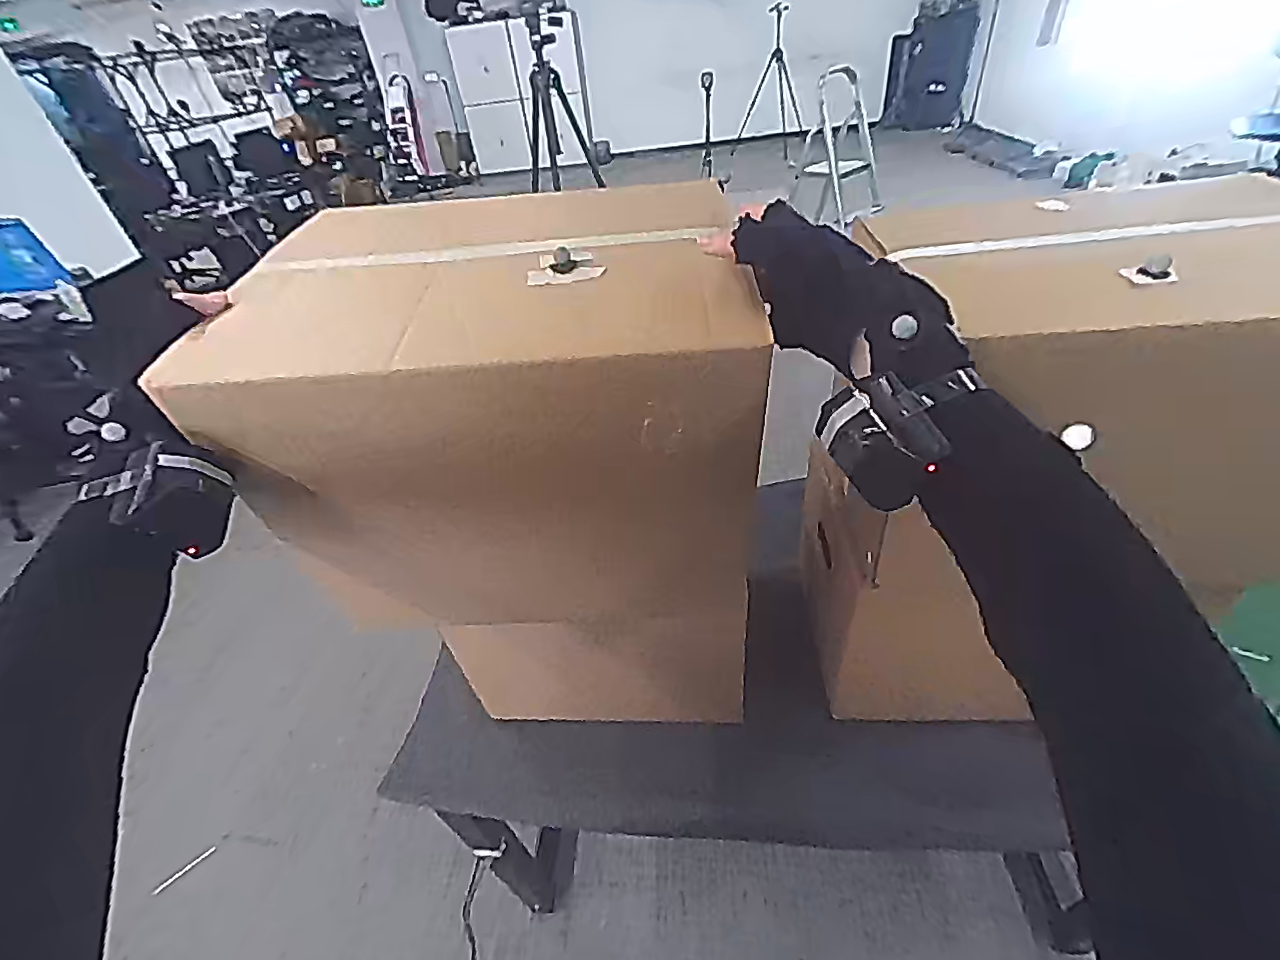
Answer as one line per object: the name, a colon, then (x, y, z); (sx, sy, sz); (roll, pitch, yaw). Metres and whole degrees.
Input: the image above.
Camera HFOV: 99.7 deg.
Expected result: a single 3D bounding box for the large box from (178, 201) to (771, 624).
large box: (-0.109, -0.069, 0.564); (0.408, 0.320, 0.320); (-2, 46, 1)
